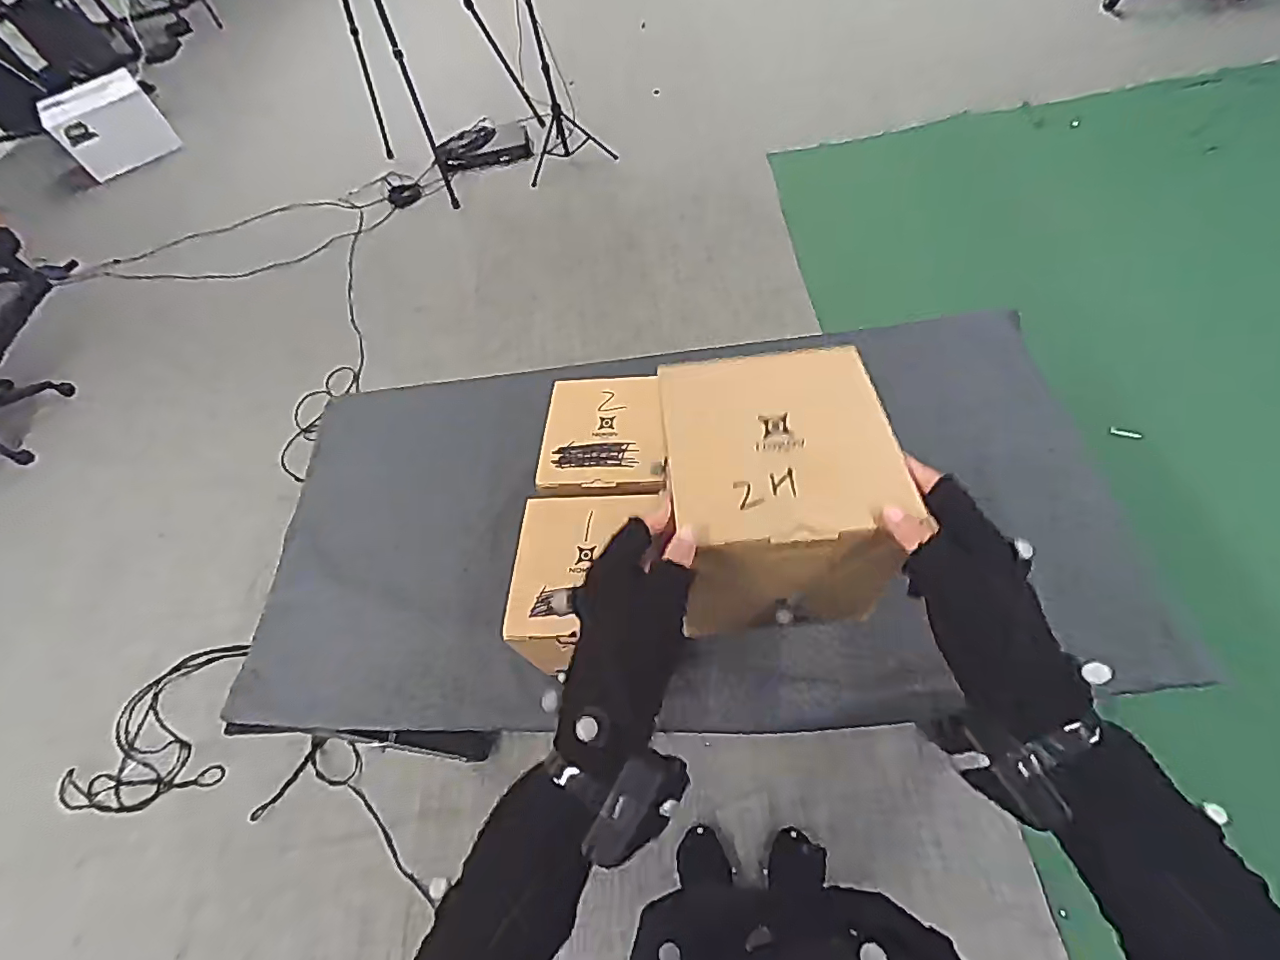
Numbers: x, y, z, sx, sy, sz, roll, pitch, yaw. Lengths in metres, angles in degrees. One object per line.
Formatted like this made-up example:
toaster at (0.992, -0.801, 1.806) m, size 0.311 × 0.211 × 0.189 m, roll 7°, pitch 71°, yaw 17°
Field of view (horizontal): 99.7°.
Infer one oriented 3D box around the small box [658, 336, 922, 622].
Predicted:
small box at (0.104, 0.005, 0.464) m, size 0.168 × 0.176 × 0.179 m, roll -6°, pitch 55°, yaw 3°
